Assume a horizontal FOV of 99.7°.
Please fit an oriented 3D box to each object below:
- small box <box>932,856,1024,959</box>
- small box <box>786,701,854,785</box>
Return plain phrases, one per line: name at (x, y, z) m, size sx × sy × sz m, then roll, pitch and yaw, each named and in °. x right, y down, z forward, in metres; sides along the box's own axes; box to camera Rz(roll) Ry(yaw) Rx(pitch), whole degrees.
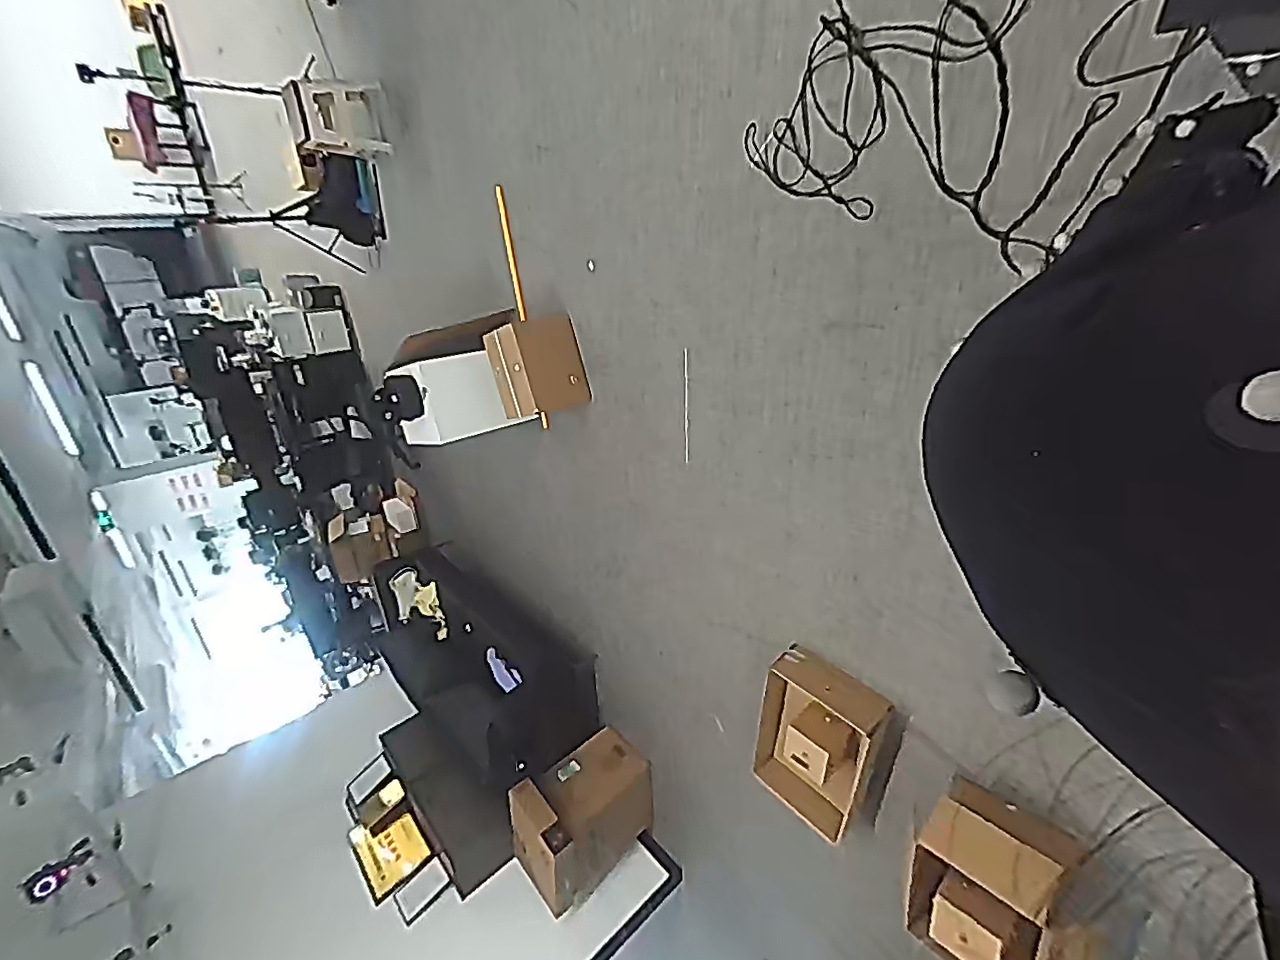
small box at (0.940, 1.207, 1.501) m, size 0.168 × 0.176 × 0.179 m, roll 18°, pitch 119°, yaw 47°
small box at (0.651, 0.943, 1.951) m, size 0.168 × 0.176 × 0.179 m, roll 26°, pitch 127°, yaw 42°
